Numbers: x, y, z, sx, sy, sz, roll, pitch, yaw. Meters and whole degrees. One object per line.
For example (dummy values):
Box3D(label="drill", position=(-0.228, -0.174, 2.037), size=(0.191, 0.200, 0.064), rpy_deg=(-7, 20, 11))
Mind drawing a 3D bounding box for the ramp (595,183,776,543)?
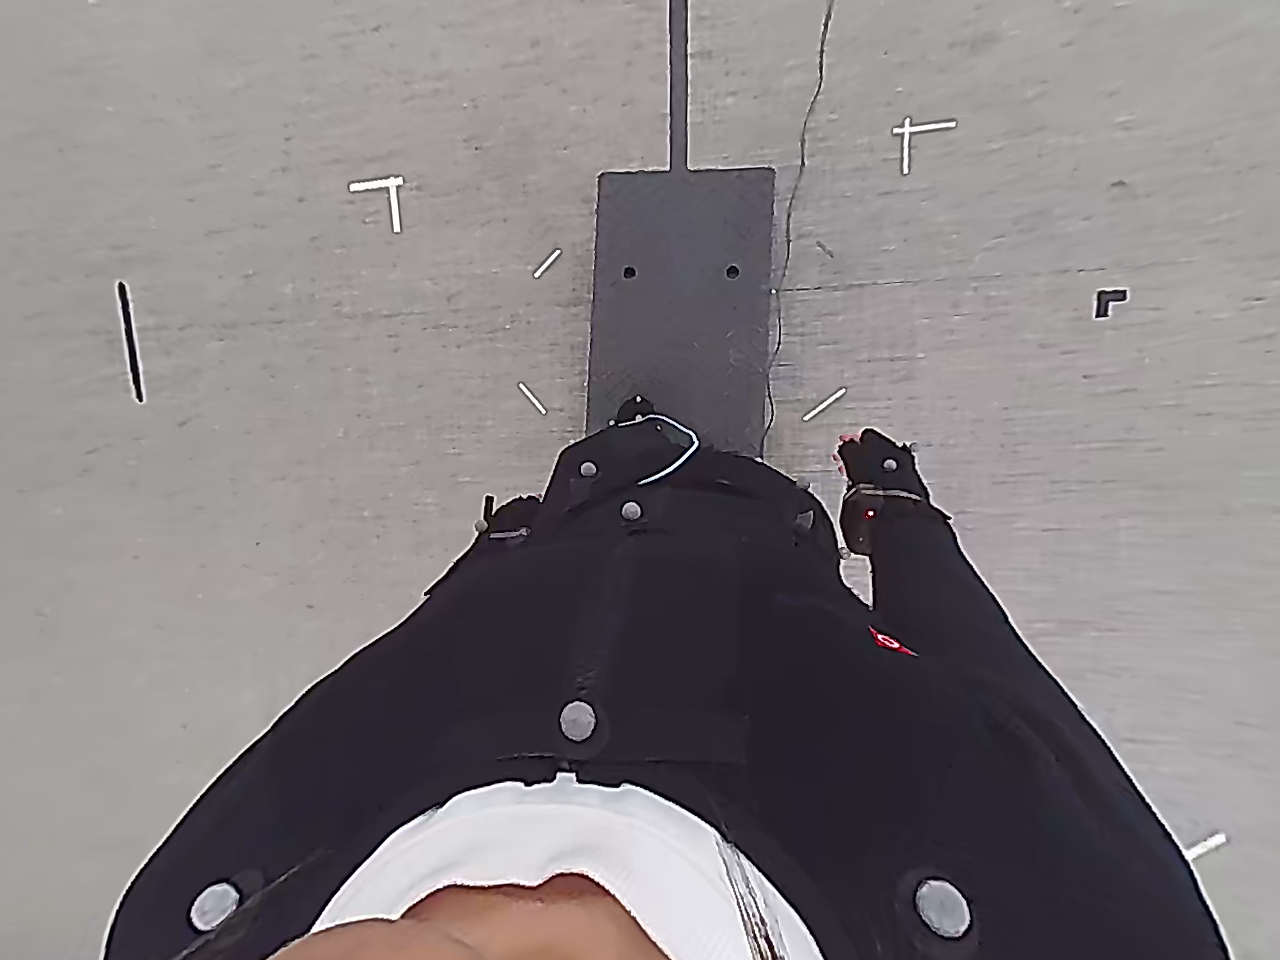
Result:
Box3D(label="ramp", position=(0.124, -0.332, 1.500), size=(0.509, 0.206, 0.991), rpy_deg=(-1, 95, 9))
